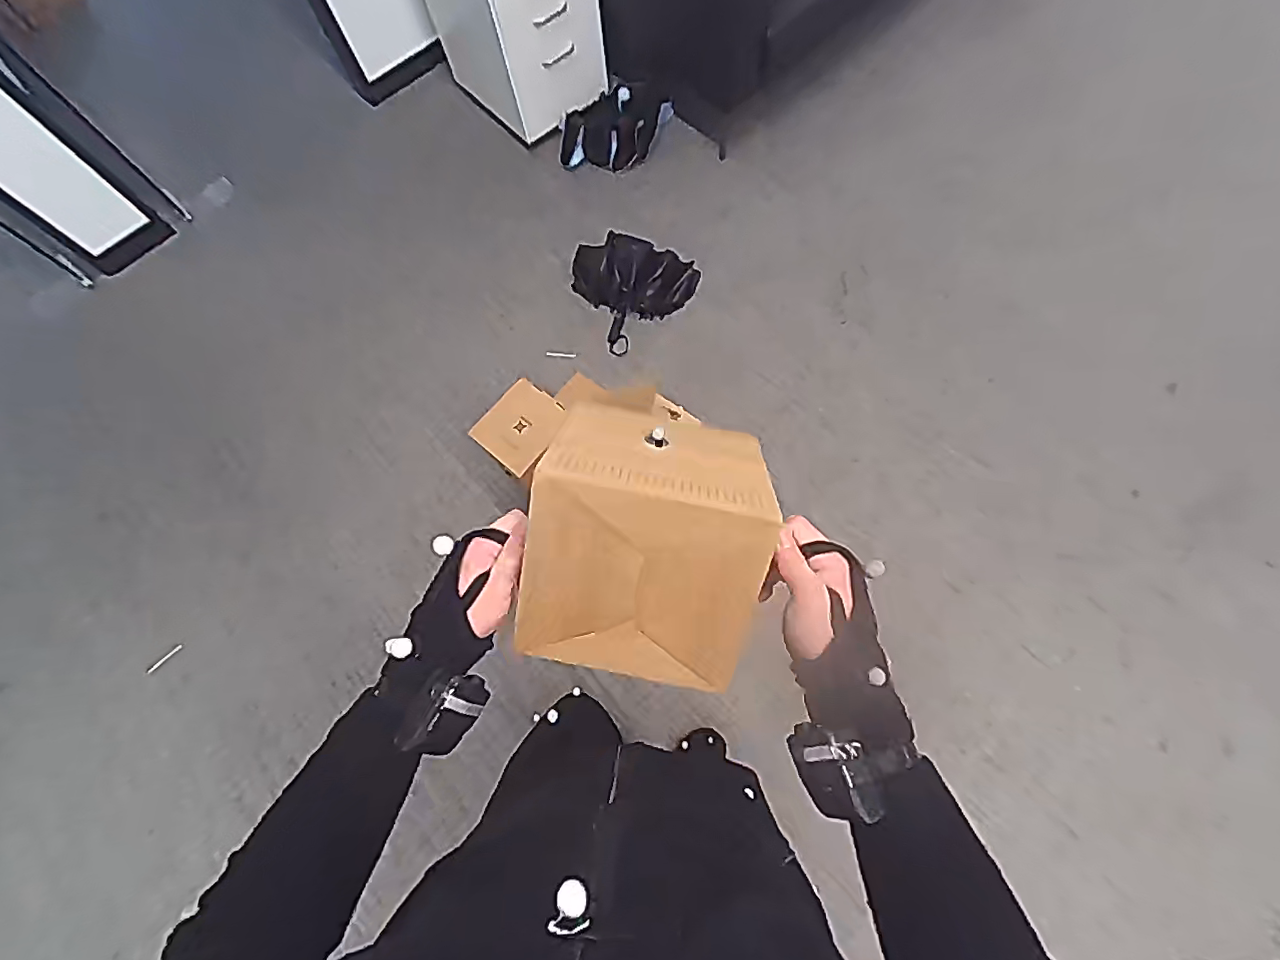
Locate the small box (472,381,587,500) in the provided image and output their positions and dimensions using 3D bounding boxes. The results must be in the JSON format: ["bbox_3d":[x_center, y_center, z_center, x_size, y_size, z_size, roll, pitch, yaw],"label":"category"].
[{"bbox_3d":[-0.237,-0.084,1.224,0.168,0.176,0.179,38,81,18],"label":"small box"}]

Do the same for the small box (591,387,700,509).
[{"bbox_3d":[0.020,-0.062,1.191,0.168,0.176,0.179,35,75,16],"label":"small box"}]
